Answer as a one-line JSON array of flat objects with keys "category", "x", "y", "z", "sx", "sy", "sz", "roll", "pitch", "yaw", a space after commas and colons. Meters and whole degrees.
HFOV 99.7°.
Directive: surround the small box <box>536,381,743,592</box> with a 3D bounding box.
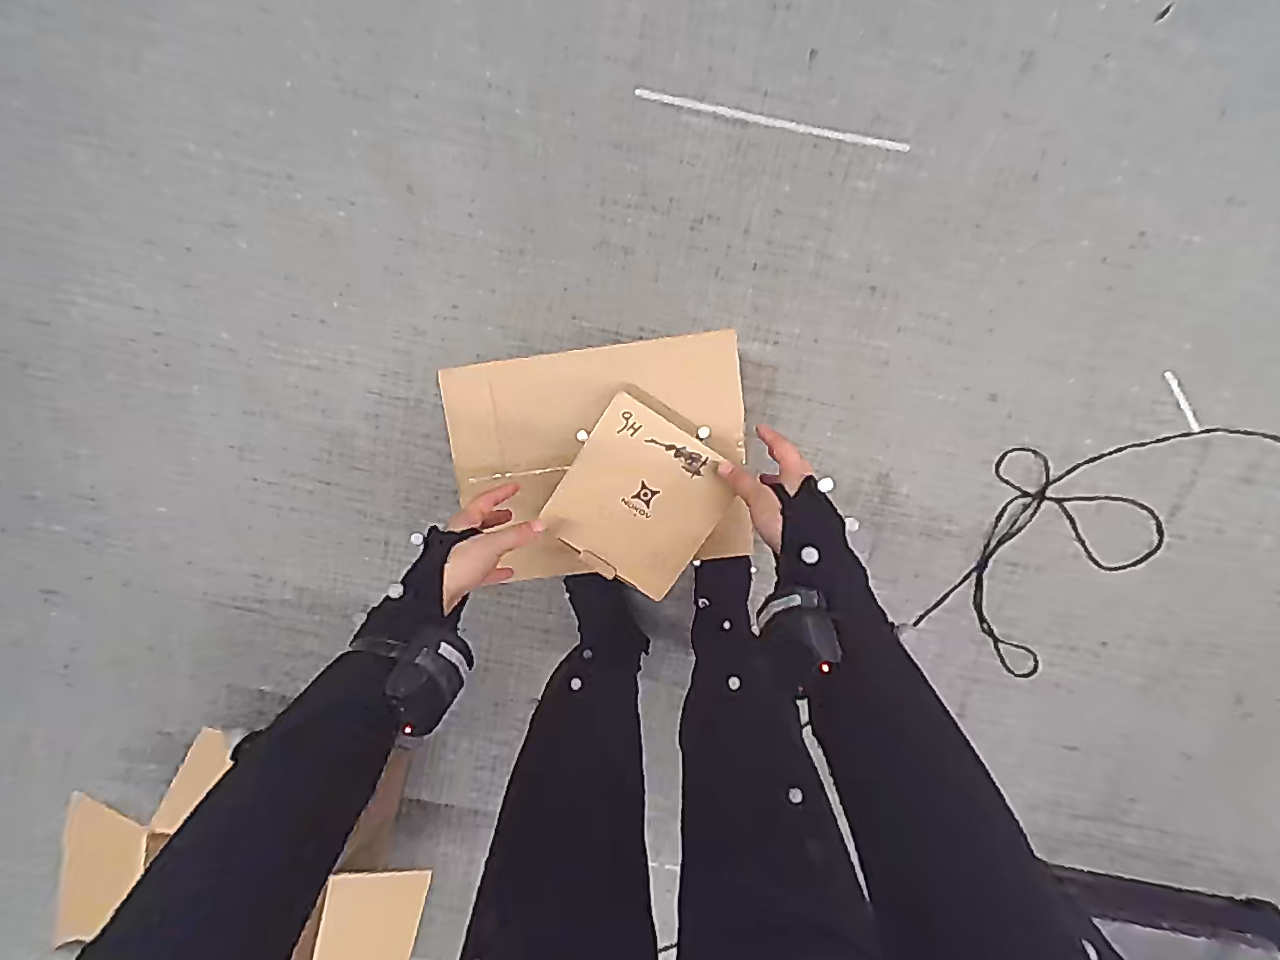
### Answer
[{"category": "small box", "x": 0.003, "y": -0.003, "z": 0.659, "sx": 0.168, "sy": 0.176, "sz": 0.179, "roll": 33, "pitch": 102, "yaw": -5}]
